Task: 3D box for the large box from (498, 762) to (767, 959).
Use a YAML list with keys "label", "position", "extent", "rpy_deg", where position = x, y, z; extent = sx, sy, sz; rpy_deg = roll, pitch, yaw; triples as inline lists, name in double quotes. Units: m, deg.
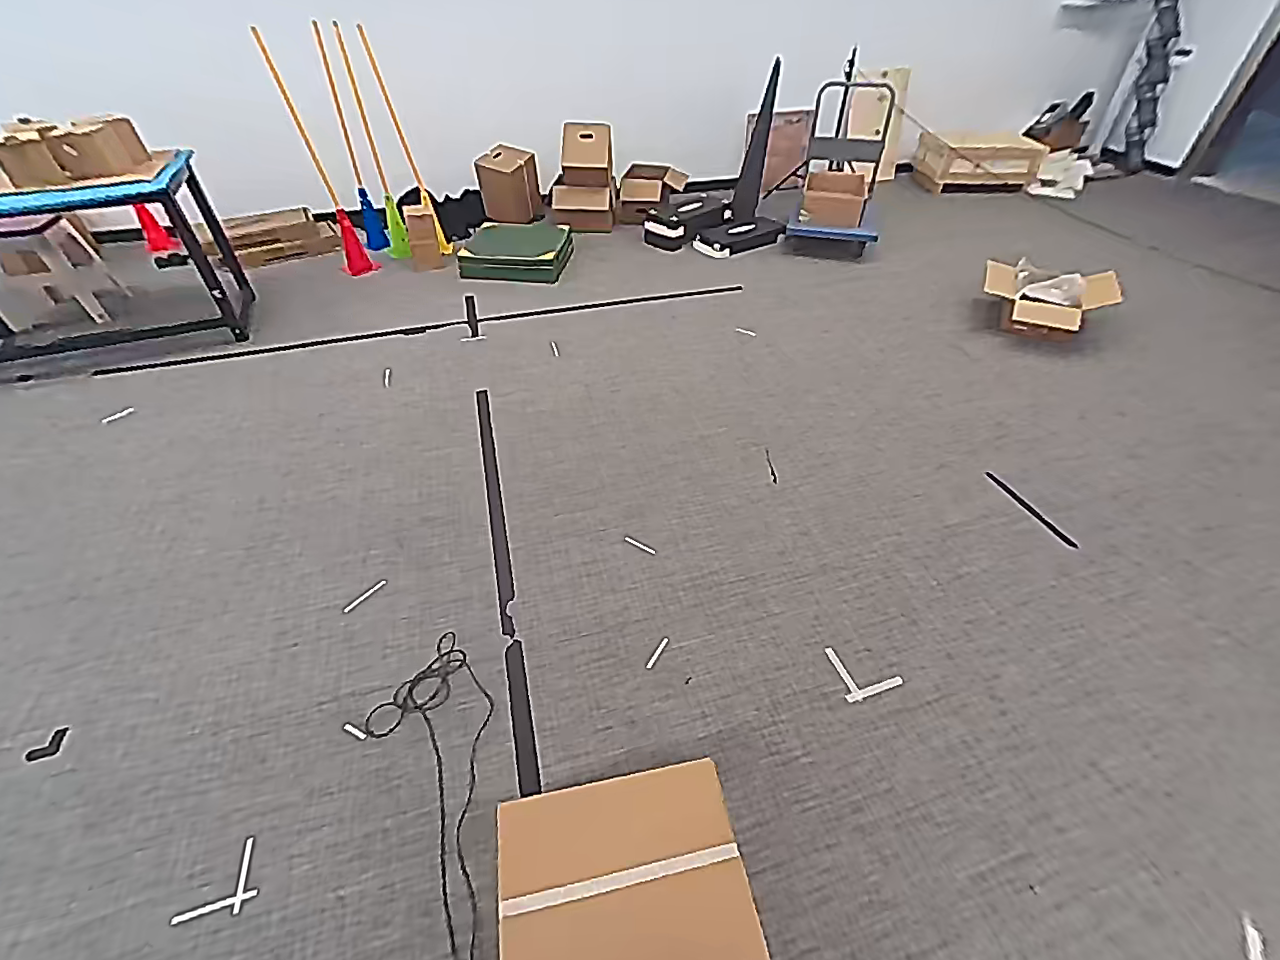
- label: "large box"
  position: [-0.029, 0.777, 0.996]
  extent: [0.408, 0.320, 0.320]
  rpy_deg: [-8, 42, -9]
